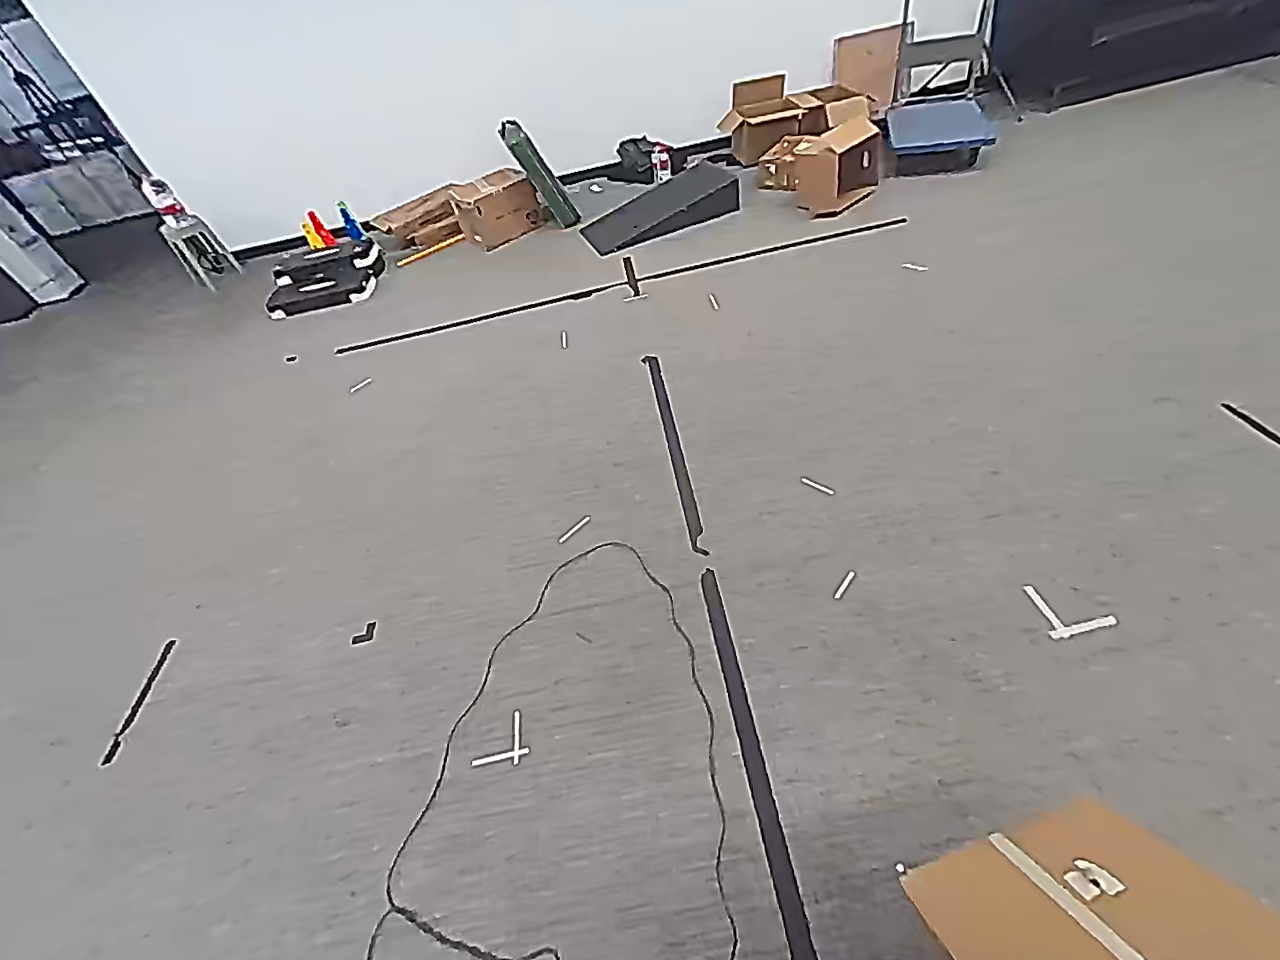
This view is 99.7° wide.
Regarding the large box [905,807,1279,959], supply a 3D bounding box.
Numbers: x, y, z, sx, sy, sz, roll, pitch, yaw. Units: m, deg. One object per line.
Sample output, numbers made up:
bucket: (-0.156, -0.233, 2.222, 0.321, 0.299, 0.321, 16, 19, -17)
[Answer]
large box: (0.592, 0.669, 0.603, 0.320, 0.408, 0.320, -21, 85, -2)
